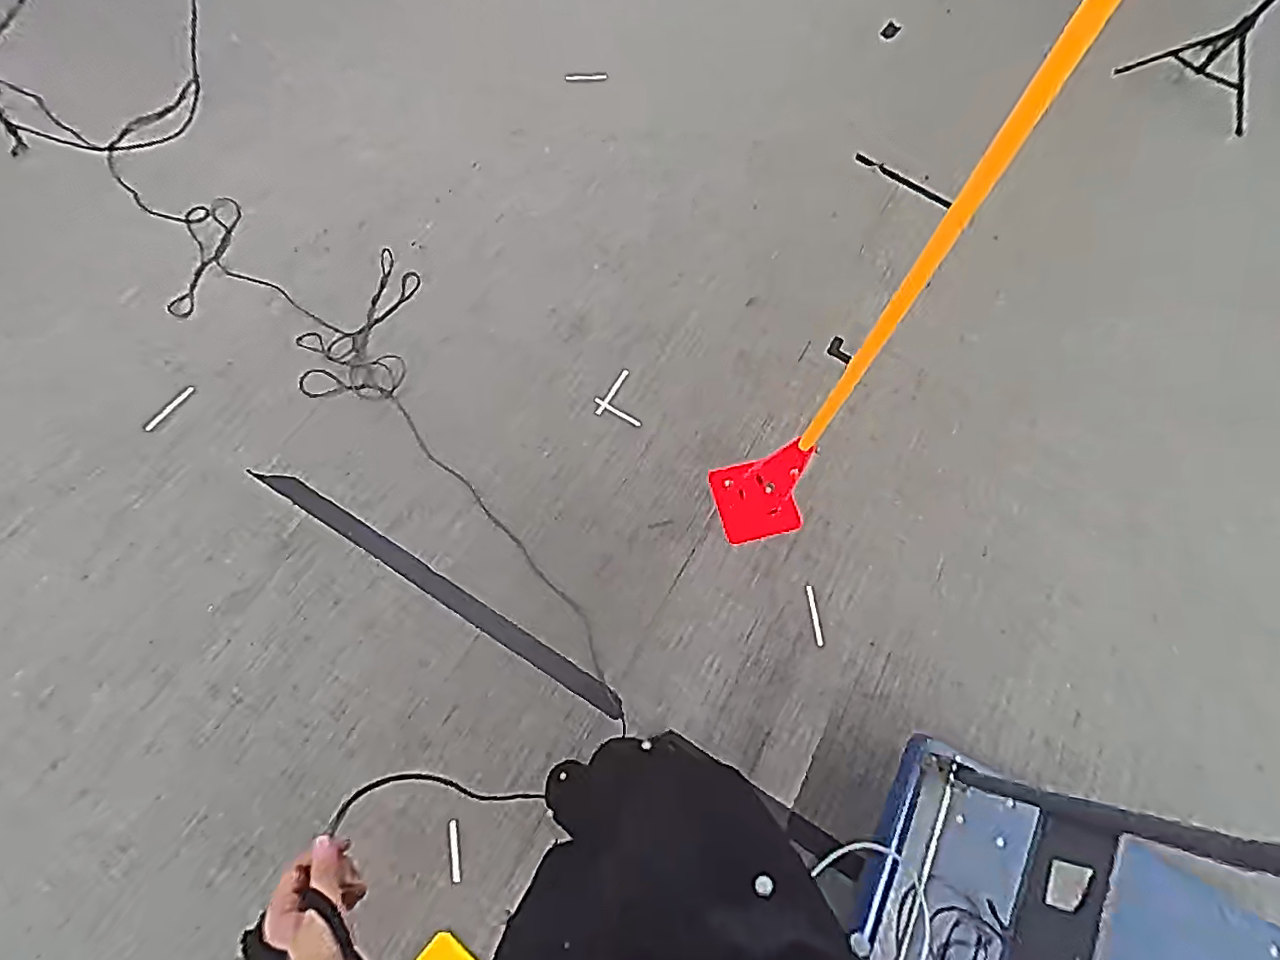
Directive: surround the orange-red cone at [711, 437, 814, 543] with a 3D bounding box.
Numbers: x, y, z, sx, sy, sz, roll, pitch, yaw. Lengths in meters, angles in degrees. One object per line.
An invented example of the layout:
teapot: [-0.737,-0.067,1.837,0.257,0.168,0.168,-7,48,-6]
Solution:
orange-red cone: [0.301,-0.007,1.189,0.198,0.360,0.199,-12,73,-8]
